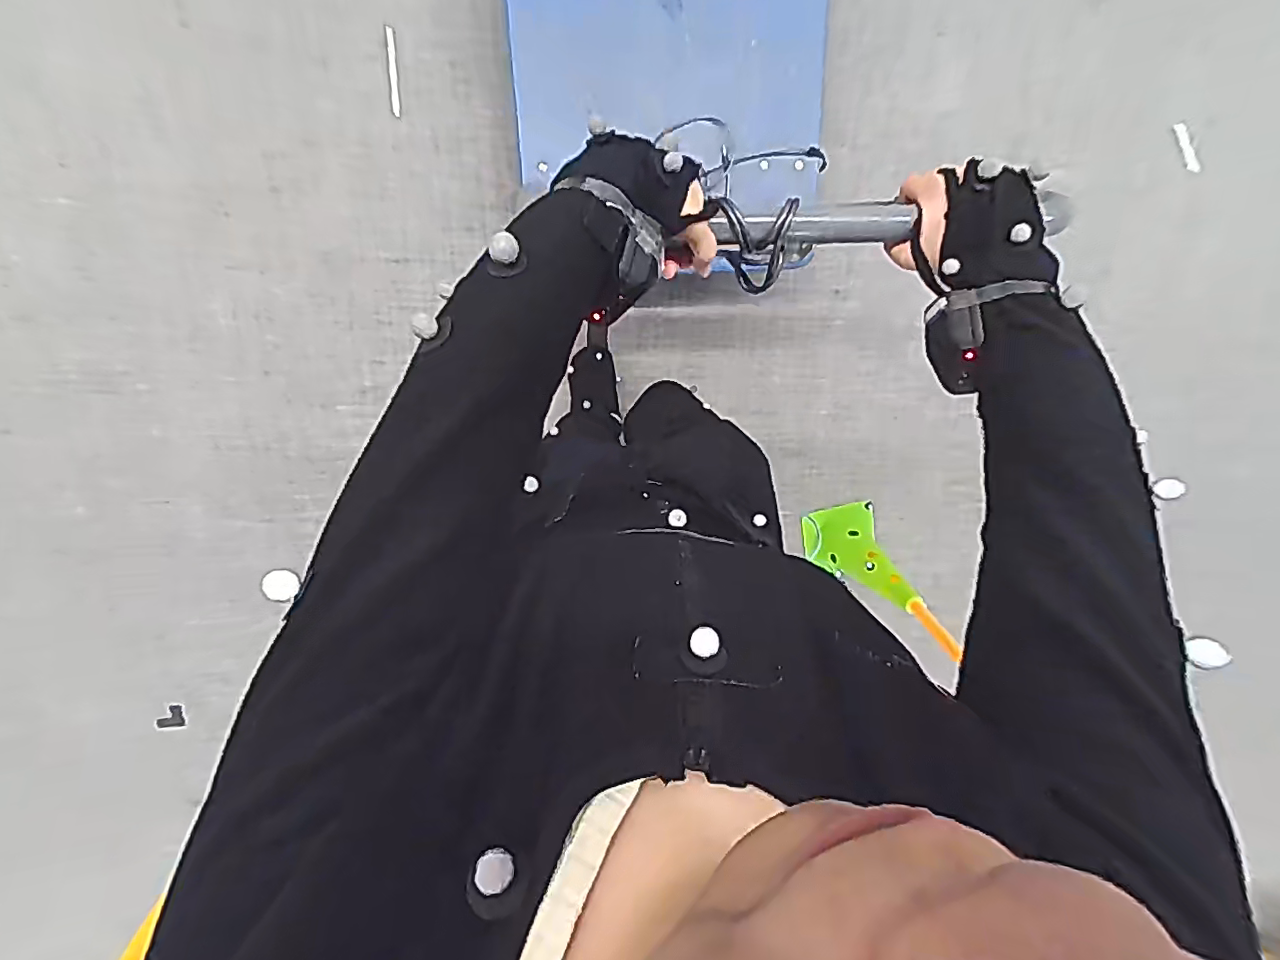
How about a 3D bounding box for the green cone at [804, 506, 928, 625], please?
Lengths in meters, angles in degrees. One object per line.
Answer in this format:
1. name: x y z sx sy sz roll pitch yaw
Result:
1. green cone: 0.565 0.230 1.307 0.200 0.368 0.202 -13 109 -2
